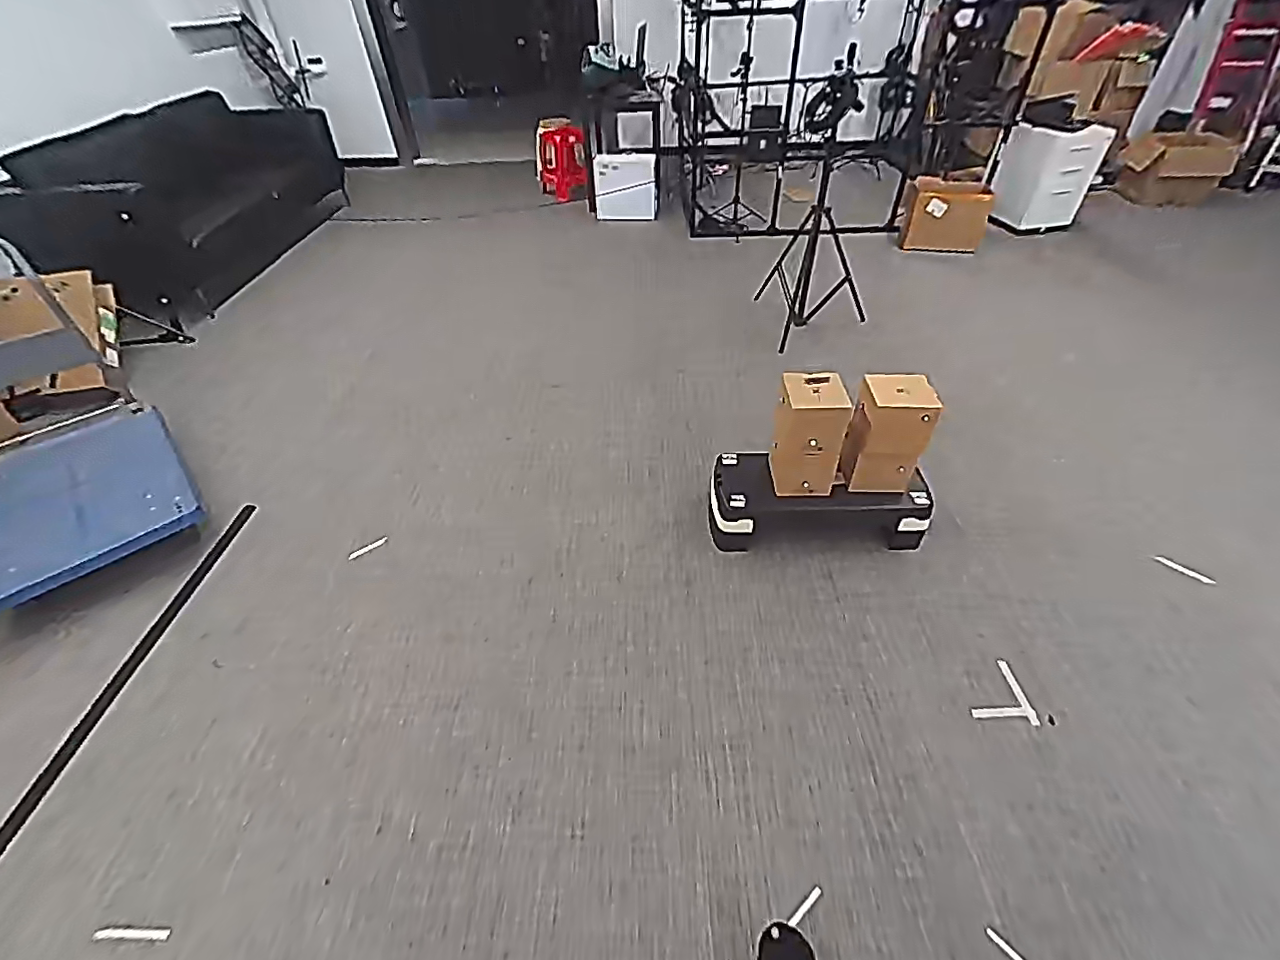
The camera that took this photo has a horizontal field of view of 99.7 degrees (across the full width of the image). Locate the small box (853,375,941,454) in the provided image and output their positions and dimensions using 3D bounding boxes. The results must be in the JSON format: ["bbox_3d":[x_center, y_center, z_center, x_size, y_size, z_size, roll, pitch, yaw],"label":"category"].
[{"bbox_3d":[0.734,-0.189,1.573,0.179,0.176,0.168,1,43,3],"label":"small box"}]

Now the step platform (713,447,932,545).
[{"bbox_3d":[0.594,0.046,1.821,0.684,0.204,0.286,-2,42,2],"label":"step platform"}]

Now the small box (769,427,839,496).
[{"bbox_3d":[0.504,-0.068,1.693,0.168,0.176,0.179,0,43,3],"label":"small box"}]

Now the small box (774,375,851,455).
[{"bbox_3d":[0.496,-0.191,1.584,0.168,0.176,0.179,-1,43,2],"label":"small box"}]
